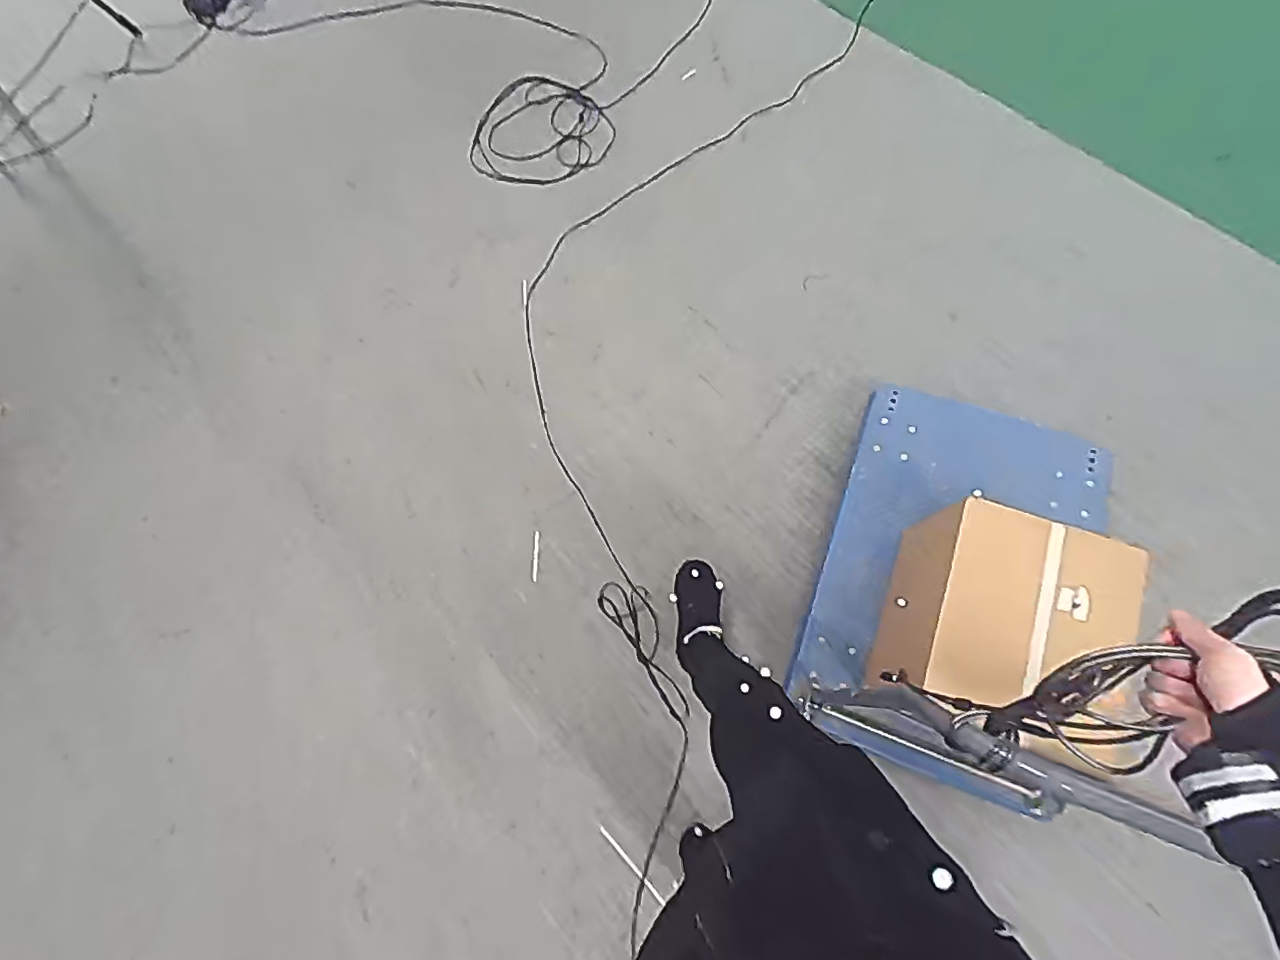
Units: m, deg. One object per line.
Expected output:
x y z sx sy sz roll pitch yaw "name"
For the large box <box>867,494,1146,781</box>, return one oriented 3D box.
0.690 0.298 1.065 0.320 0.320 0.408 21 74 9 "large box"
